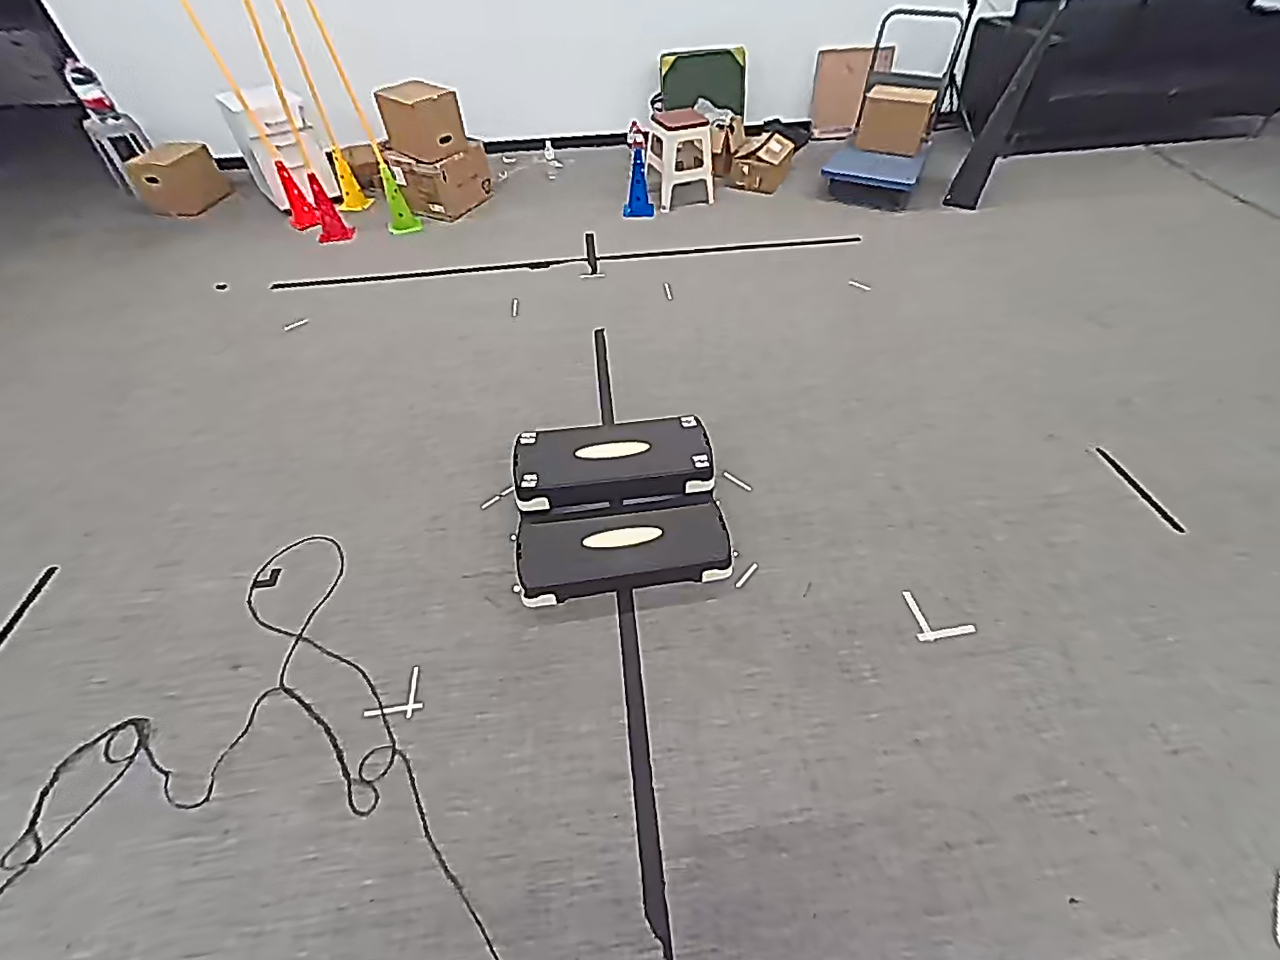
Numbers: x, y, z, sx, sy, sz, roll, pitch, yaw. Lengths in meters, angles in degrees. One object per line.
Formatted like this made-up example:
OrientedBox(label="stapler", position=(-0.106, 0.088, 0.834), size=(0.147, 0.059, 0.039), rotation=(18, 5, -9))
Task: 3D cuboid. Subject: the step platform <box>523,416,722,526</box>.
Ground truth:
OrientedBox(label="step platform", position=(-0.060, -0.041, 1.893), size=(0.684, 0.204, 0.286), rotation=(-7, 48, -6))
